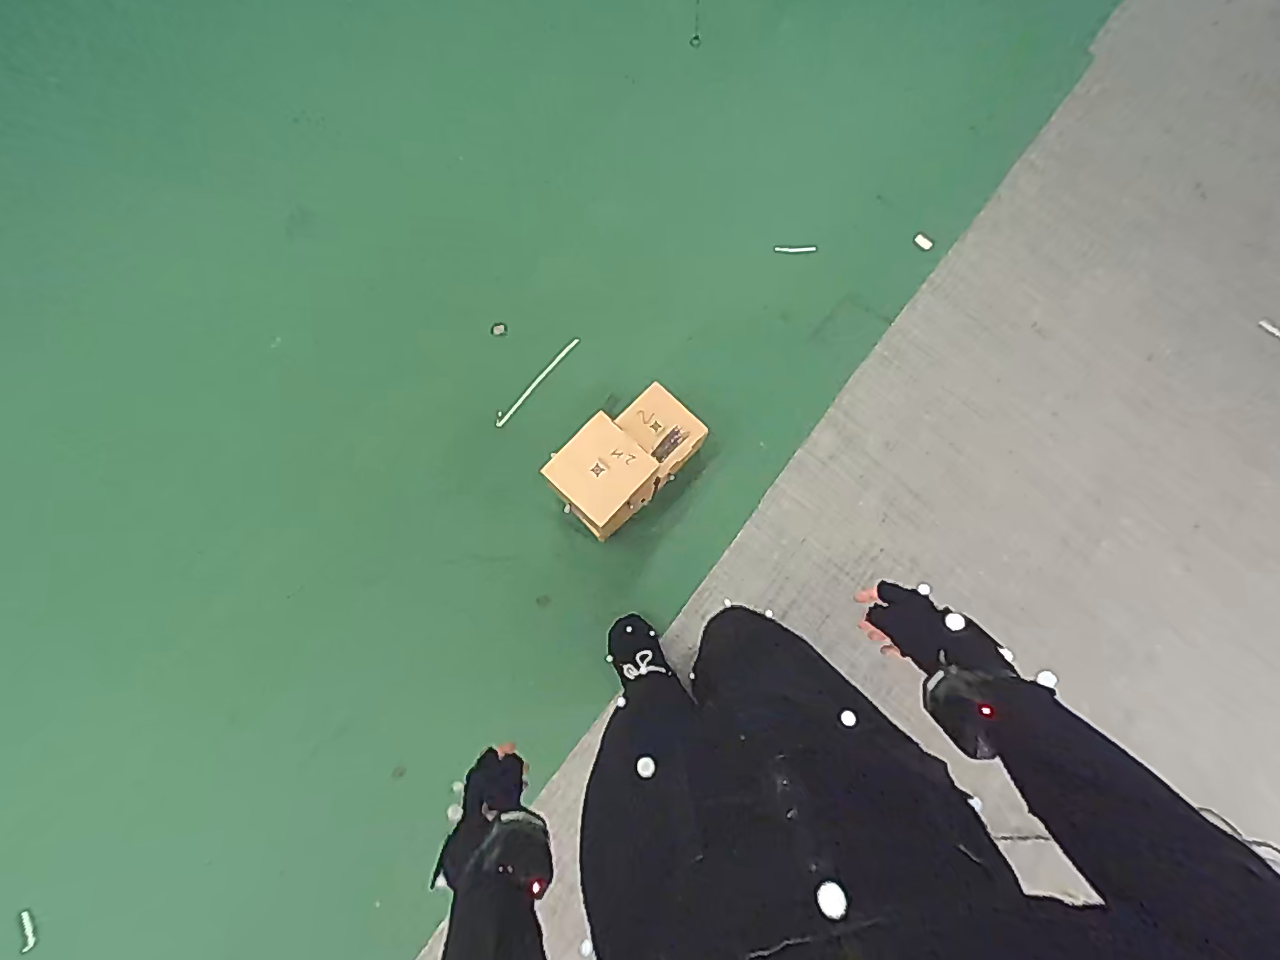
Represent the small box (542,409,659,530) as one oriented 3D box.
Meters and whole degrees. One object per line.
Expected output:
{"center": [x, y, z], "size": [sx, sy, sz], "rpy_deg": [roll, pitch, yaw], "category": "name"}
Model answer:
{"center": [-0.078, -0.012, 1.136], "size": [0.168, 0.176, 0.179], "rpy_deg": [42, 80, 6], "category": "small box"}
